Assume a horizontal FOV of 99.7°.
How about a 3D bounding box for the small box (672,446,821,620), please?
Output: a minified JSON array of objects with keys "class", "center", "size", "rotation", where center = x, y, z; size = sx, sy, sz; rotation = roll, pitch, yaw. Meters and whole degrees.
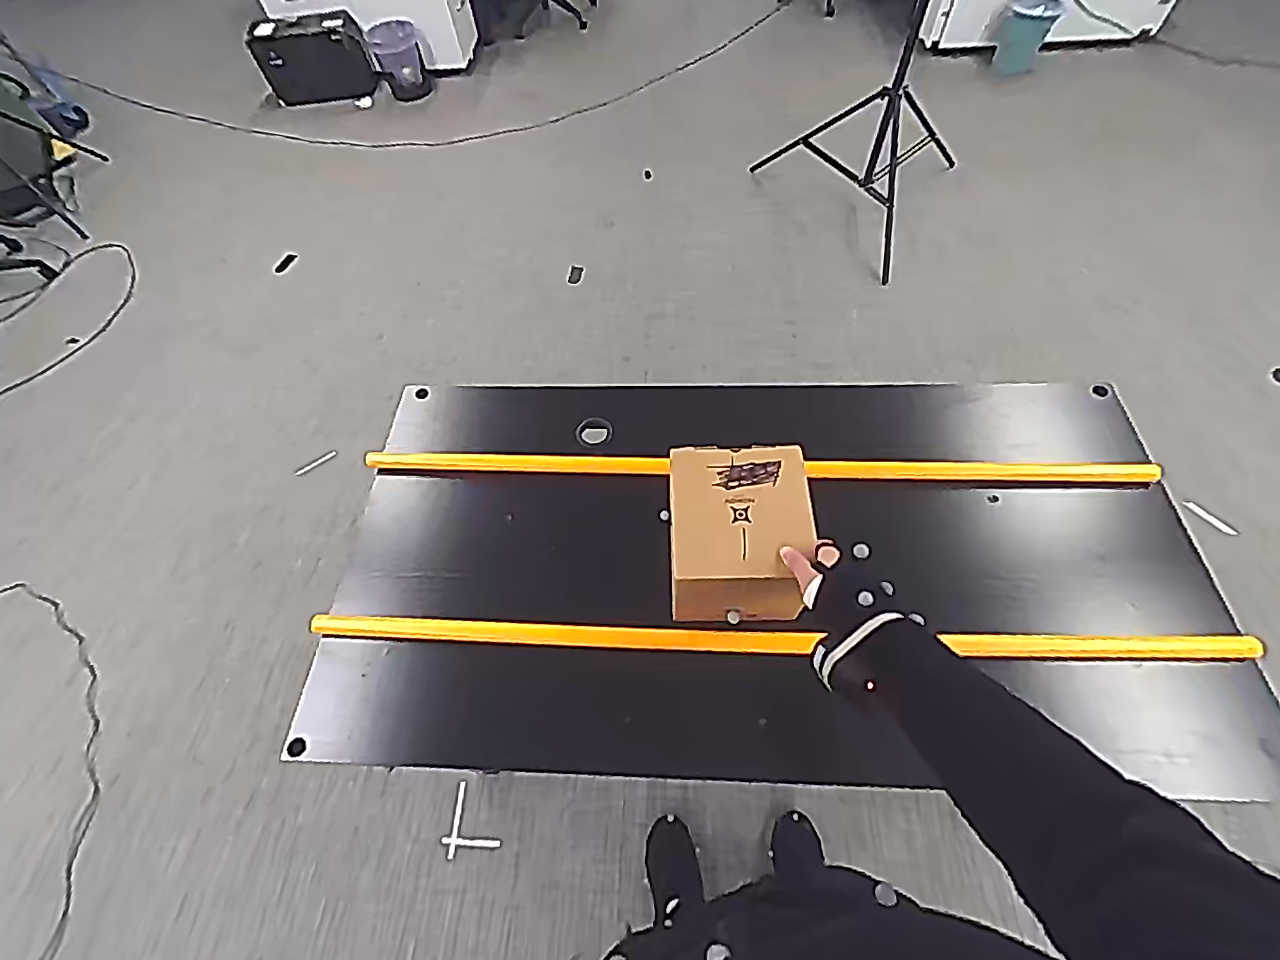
[{"class":"small box","center":[0.125,0.073,0.710],"size":[0.168,0.176,0.179],"rotation":[-1,60,4]}]
